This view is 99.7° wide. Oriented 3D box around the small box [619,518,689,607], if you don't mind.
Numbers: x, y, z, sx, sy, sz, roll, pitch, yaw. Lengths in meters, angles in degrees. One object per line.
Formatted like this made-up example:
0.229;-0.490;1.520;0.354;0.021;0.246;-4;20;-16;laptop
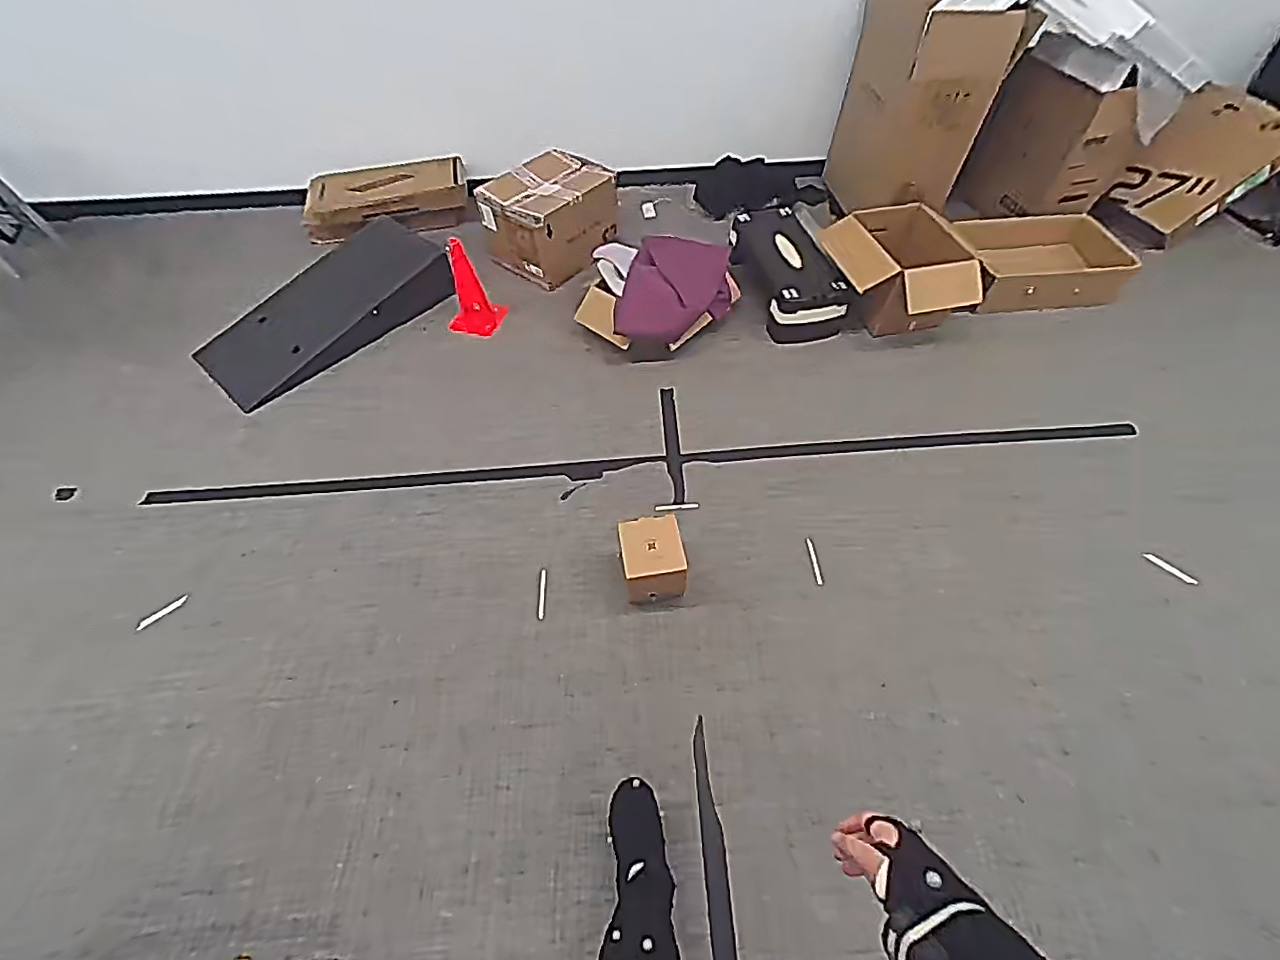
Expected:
0.035;0.233;1.516;0.168;0.176;0.179;-9;55;-4;small box
